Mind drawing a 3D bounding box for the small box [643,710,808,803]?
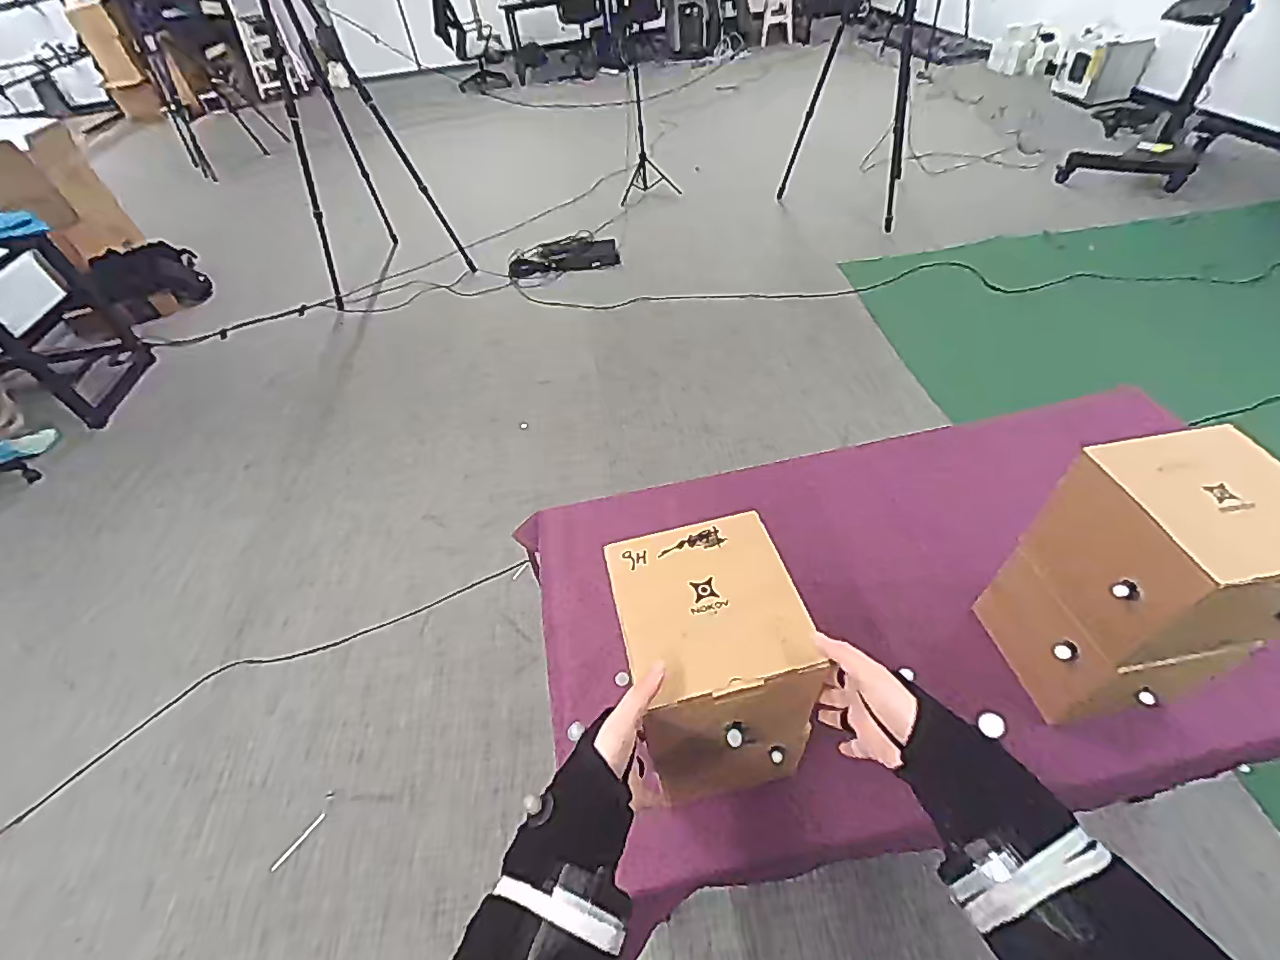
[{"bbox_3d":[0.089,0.279,0.677,0.179,0.176,0.168,-13,46,-4],"label":"small box"}]

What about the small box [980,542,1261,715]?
[{"bbox_3d":[0.582,0.181,0.690,0.168,0.176,0.179,-11,47,-2],"label":"small box"}]

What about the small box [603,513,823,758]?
[{"bbox_3d":[0.067,0.166,0.559,0.168,0.176,0.179,-13,47,-5],"label":"small box"}]

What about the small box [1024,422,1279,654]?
[{"bbox_3d":[0.563,0.068,0.573,0.168,0.176,0.179,-9,46,0],"label":"small box"}]
